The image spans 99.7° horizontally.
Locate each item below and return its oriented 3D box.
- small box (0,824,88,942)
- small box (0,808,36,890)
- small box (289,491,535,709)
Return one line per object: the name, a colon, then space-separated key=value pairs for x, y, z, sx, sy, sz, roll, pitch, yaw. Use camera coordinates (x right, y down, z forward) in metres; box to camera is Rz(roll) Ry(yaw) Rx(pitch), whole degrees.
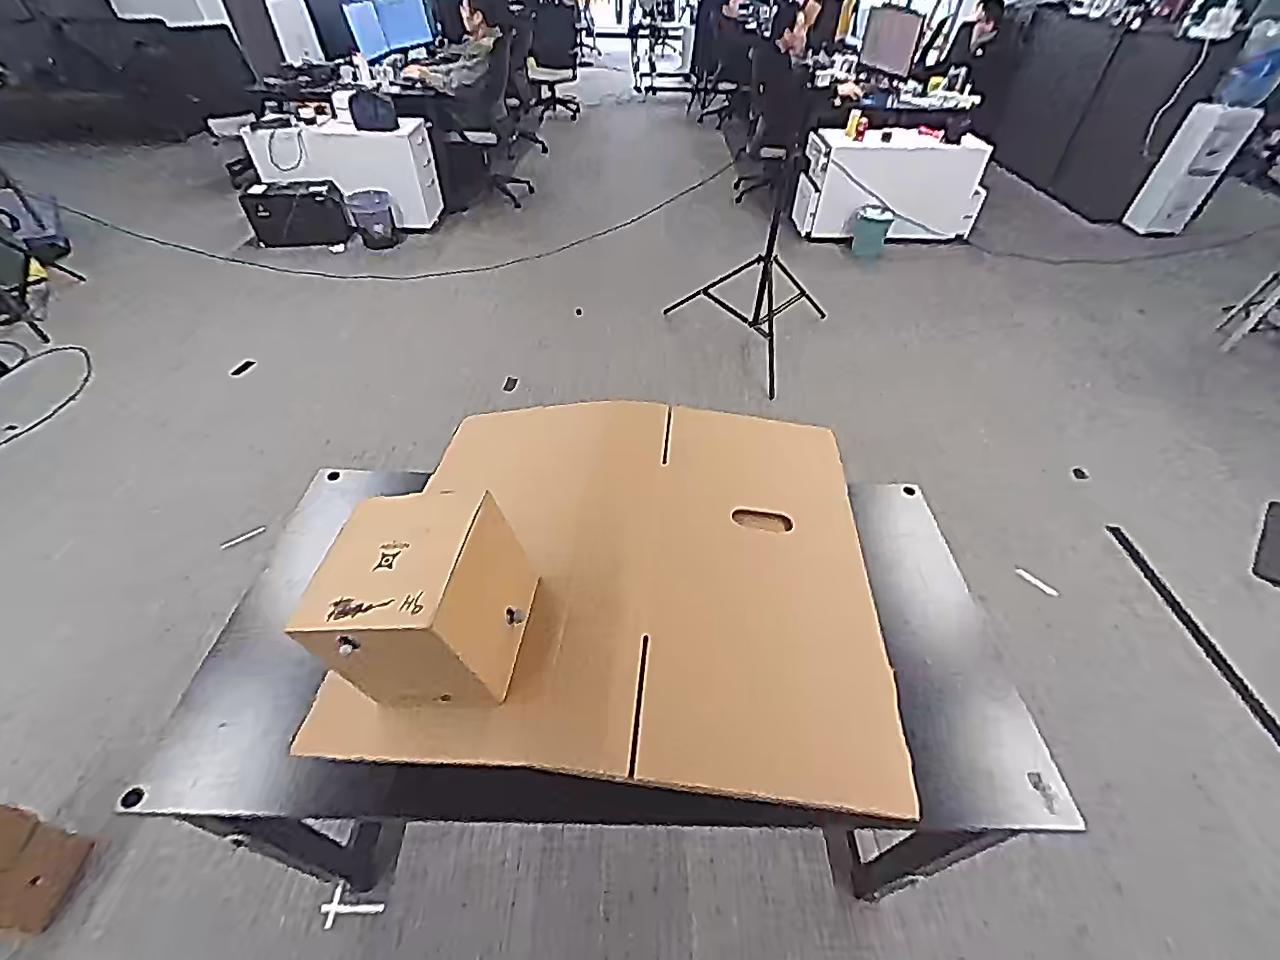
small box: x=-1.328 y=0.841 z=1.126 sx=0.168 sy=0.176 sz=0.179 roll=-2 pitch=46 yaw=-3
small box: x=-1.326 y=0.722 z=1.015 sx=0.168 sy=0.176 sz=0.179 roll=-3 pitch=44 yaw=-6
small box: x=-0.234 y=0.136 z=0.614 sx=0.168 sy=0.176 sz=0.179 roll=-6 pitch=43 yaw=14
